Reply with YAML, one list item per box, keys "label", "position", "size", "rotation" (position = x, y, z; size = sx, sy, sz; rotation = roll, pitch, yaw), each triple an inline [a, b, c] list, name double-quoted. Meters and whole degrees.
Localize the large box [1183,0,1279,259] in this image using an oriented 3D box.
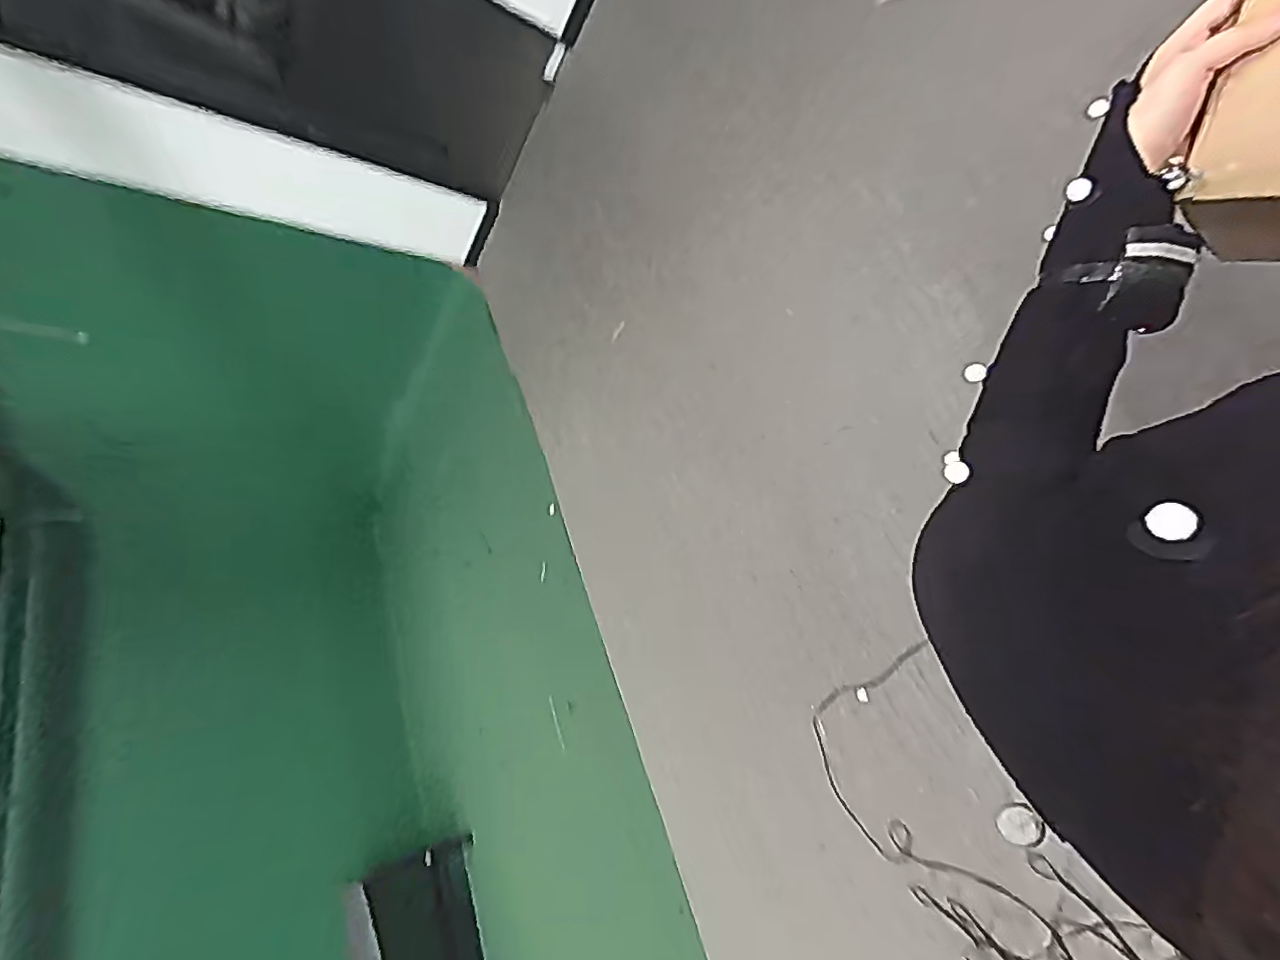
- label: "large box"
  position: [0.650, -0.311, 0.300]
  size: [0.408, 0.320, 0.320]
  rotation: [23, 114, 48]
